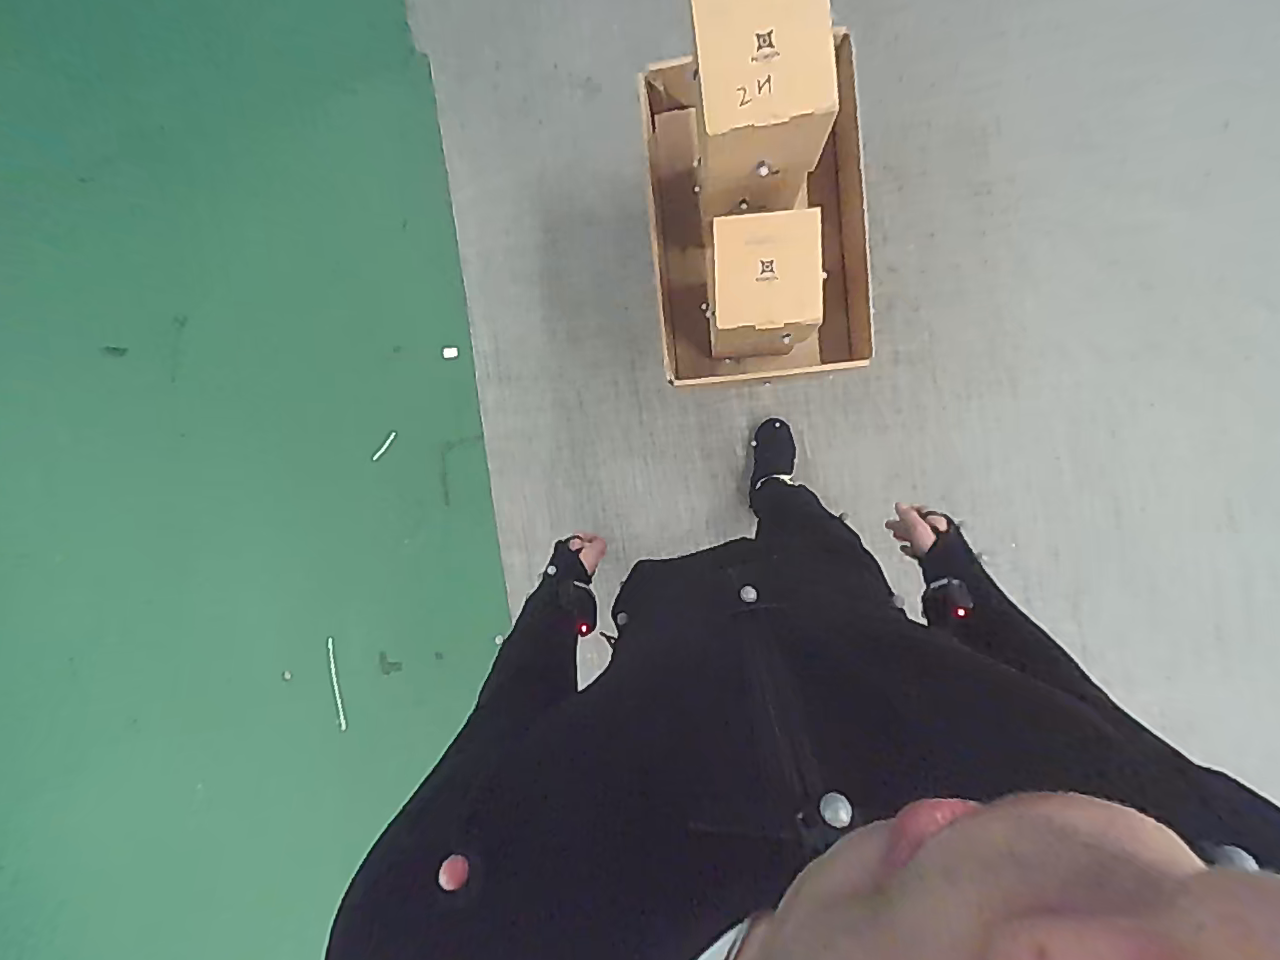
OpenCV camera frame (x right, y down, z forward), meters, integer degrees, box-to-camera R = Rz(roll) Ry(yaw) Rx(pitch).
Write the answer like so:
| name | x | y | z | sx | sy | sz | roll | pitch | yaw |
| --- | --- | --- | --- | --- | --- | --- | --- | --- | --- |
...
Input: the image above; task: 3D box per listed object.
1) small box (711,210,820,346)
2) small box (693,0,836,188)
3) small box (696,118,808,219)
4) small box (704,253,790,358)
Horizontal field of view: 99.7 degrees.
| name | x | y | z | sx | sy | sz | roll | pitch | yaw |
| --- | --- | --- | --- | --- | --- | --- | --- | --- | --- |
| small box | 0.205 | -0.328 | 0.915 | 0.168 | 0.176 | 0.179 | -1 | 92 | 7 |
| small box | 0.162 | -0.539 | 0.747 | 0.168 | 0.176 | 0.179 | -6 | 95 | 8 |
| small box | 0.182 | -0.568 | 0.909 | 0.168 | 0.176 | 0.179 | -4 | 95 | 7 |
| small box | 0.217 | -0.344 | 1.077 | 0.168 | 0.176 | 0.179 | -4 | 92 | 7 |
